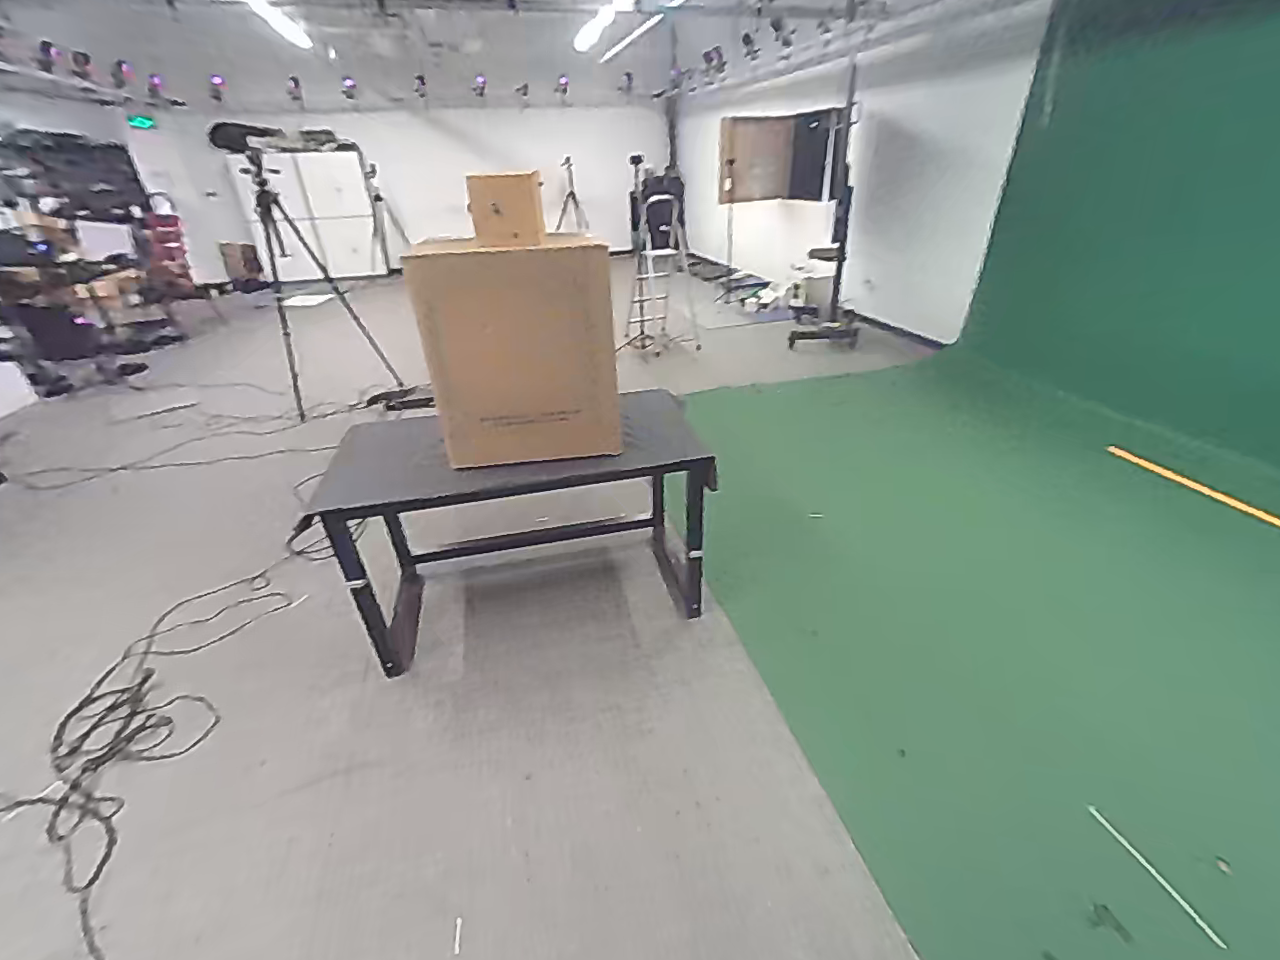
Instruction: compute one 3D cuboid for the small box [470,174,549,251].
[{"bbox_3d":[-0.339,-0.712,1.443,0.168,0.176,0.179,-3,32,-2],"label":"small box"}]
